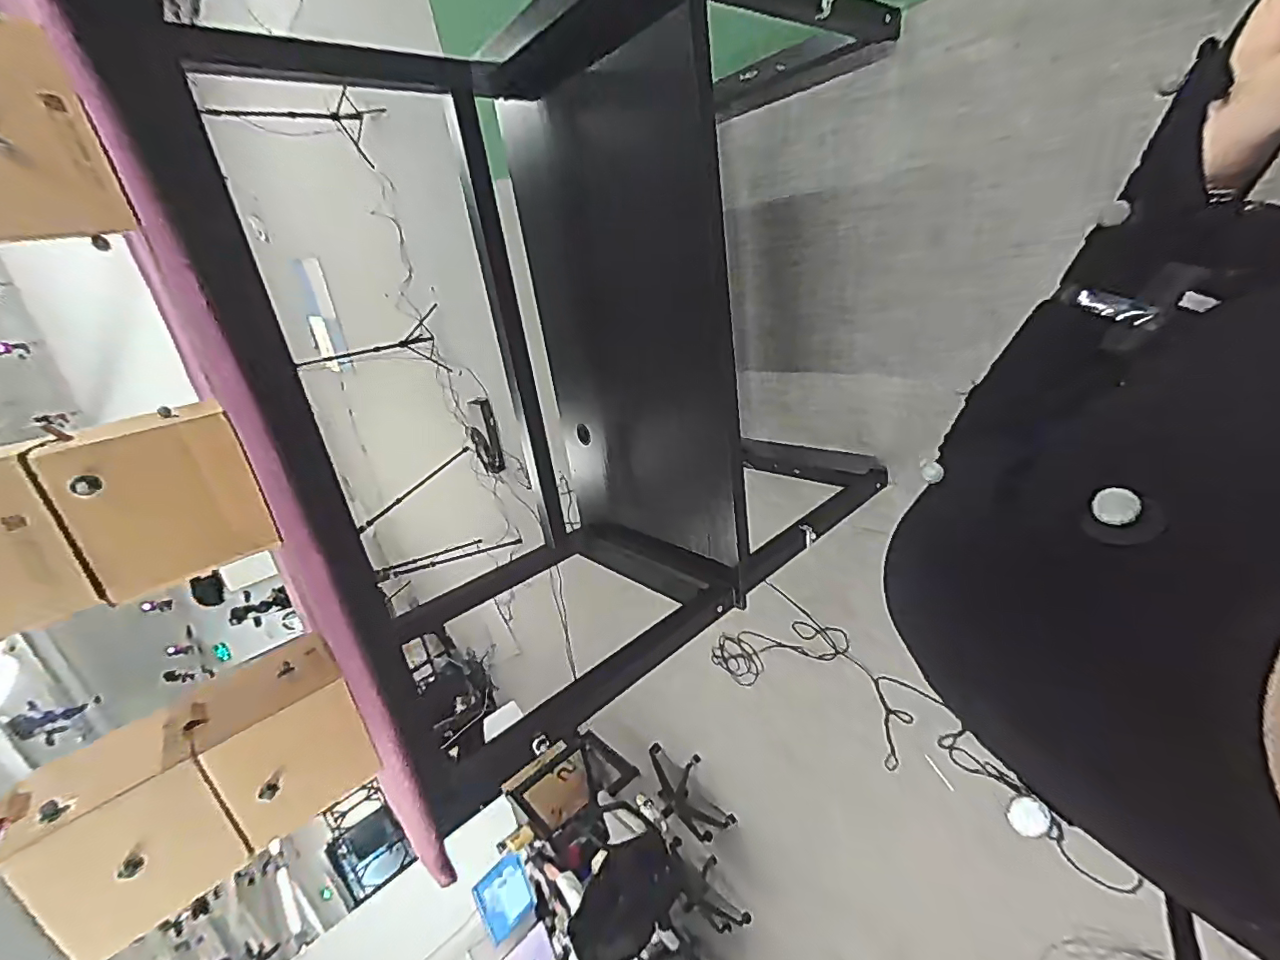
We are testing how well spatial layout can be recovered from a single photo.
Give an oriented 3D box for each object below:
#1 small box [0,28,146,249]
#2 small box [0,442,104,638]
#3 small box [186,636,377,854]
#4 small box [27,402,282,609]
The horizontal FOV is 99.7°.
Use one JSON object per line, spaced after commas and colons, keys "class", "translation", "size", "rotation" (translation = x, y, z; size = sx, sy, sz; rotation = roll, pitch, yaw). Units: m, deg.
{"class": "small box", "translation": [-0.617, -0.316, 0.520], "size": [0.179, 0.176, 0.168], "rotation": [25, 130, 44]}
{"class": "small box", "translation": [-0.681, 0.065, 0.554], "size": [0.179, 0.176, 0.168], "rotation": [14, 119, 50]}
{"class": "small box", "translation": [-0.496, 0.357, 0.760], "size": [0.168, 0.176, 0.179], "rotation": [14, 120, 46]}
{"class": "small box", "translation": [-0.559, 0.017, 0.649], "size": [0.168, 0.176, 0.179], "rotation": [16, 122, 48]}
